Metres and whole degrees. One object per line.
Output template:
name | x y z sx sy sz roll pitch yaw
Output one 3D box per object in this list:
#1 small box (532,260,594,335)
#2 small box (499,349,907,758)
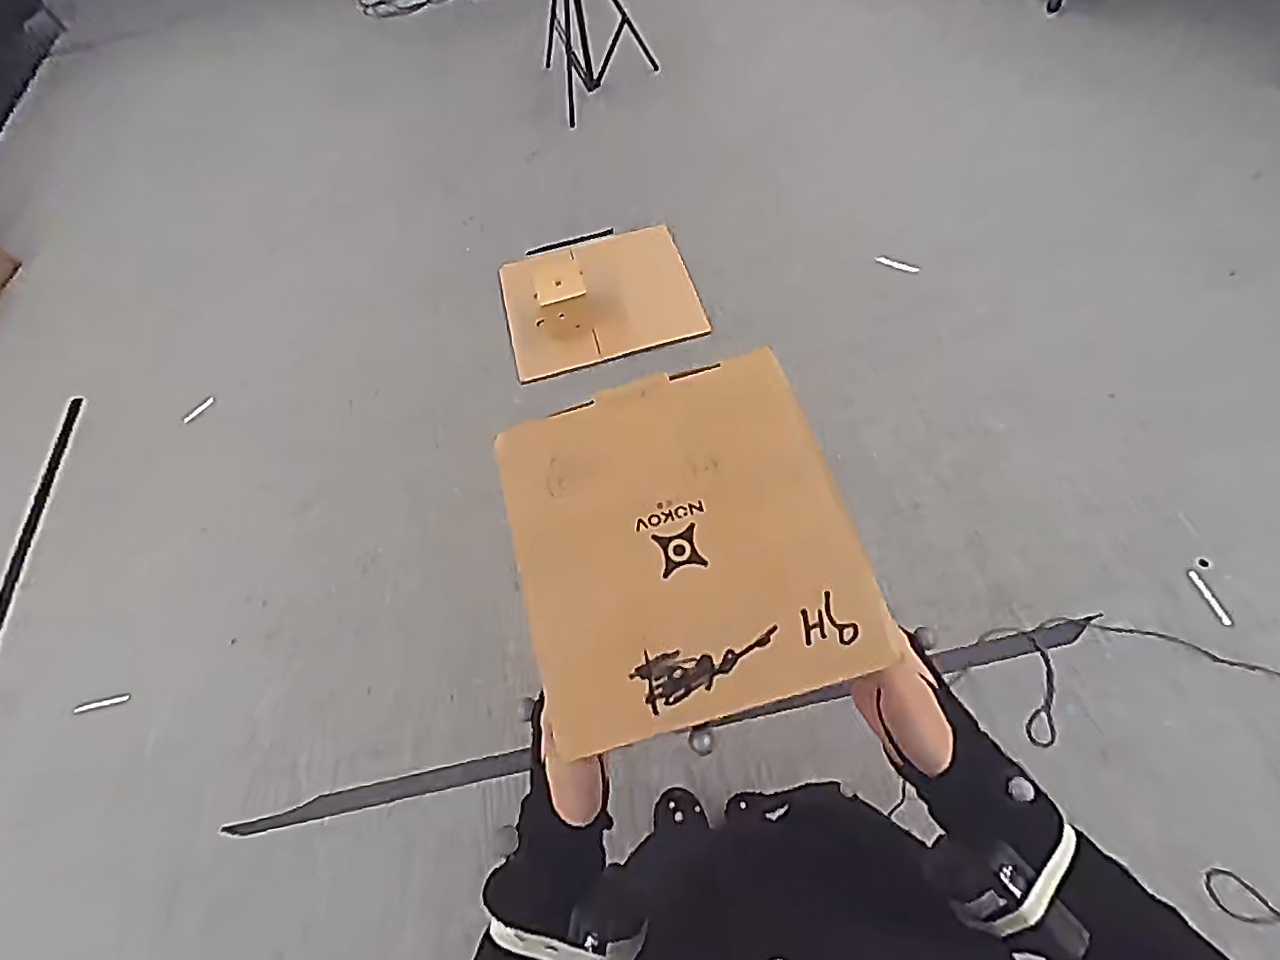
small box | -0.269 -0.638 1.919 0.168 0.176 0.179 -17 62 -2
small box | 0.030 0.053 0.343 0.168 0.176 0.179 -17 69 3
